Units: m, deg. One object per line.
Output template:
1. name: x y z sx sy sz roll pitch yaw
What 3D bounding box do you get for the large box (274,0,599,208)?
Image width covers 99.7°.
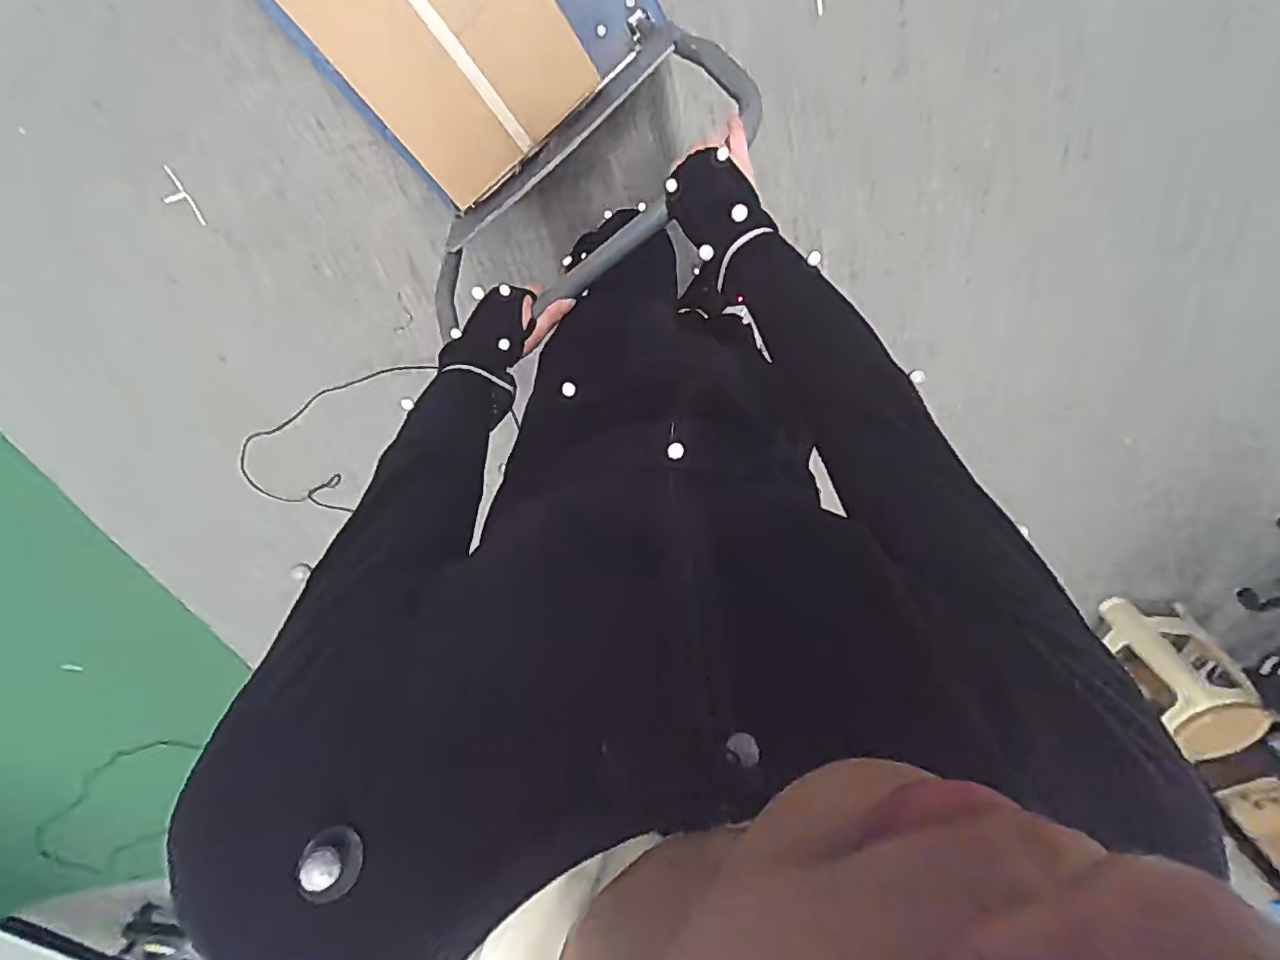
1. large box: -0.313 -0.753 0.892 0.320 0.320 0.408 -33 127 17
